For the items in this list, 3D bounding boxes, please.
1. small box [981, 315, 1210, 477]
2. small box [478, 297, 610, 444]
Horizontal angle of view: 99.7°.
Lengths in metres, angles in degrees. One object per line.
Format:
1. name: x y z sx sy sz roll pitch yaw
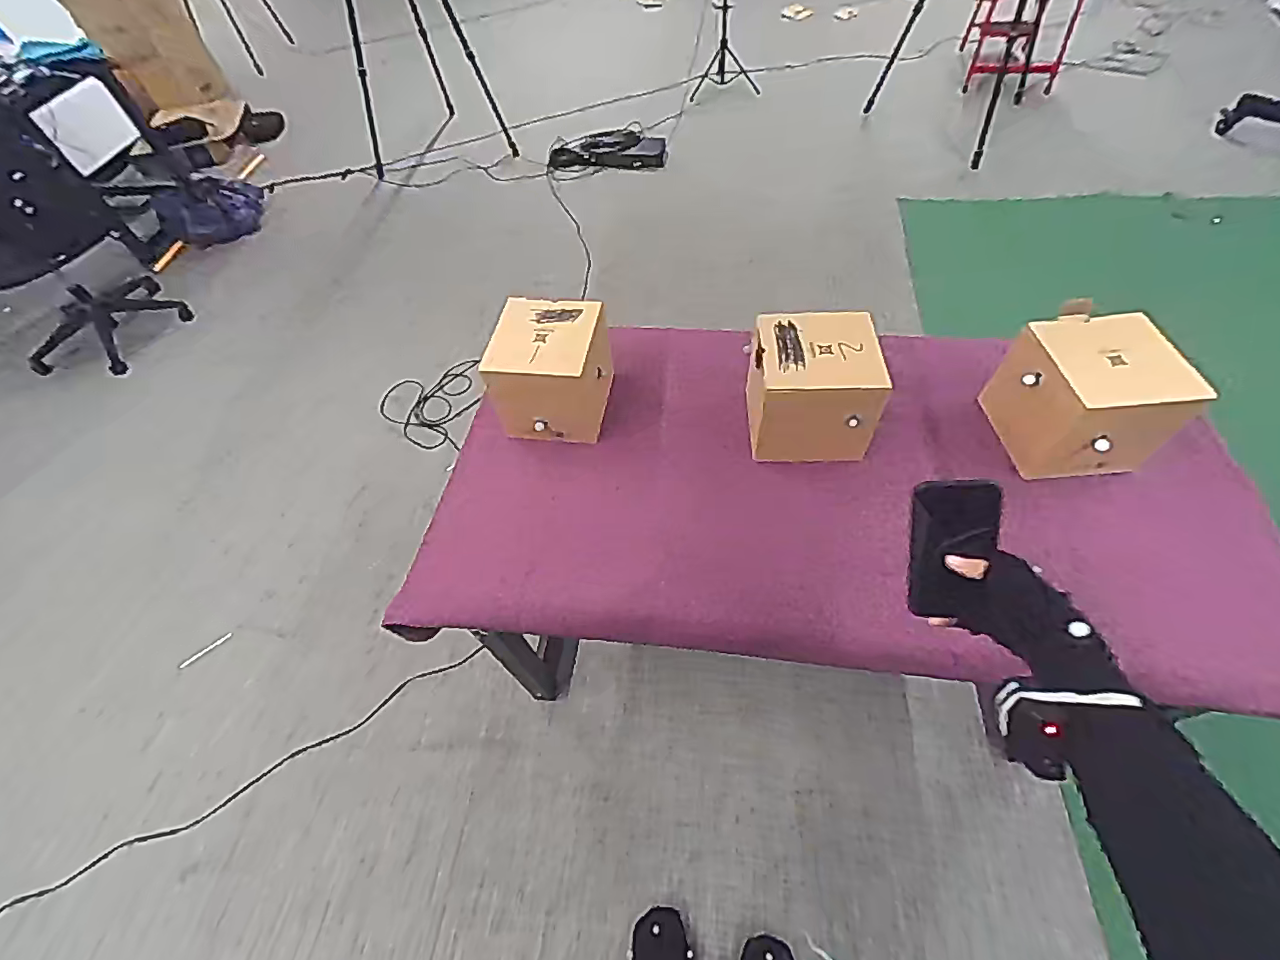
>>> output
1. small box: 0.653 -0.117 0.806 0.168 0.176 0.179 -5 54 3
2. small box: -0.150 -0.185 0.921 0.168 0.176 0.179 5 57 9
